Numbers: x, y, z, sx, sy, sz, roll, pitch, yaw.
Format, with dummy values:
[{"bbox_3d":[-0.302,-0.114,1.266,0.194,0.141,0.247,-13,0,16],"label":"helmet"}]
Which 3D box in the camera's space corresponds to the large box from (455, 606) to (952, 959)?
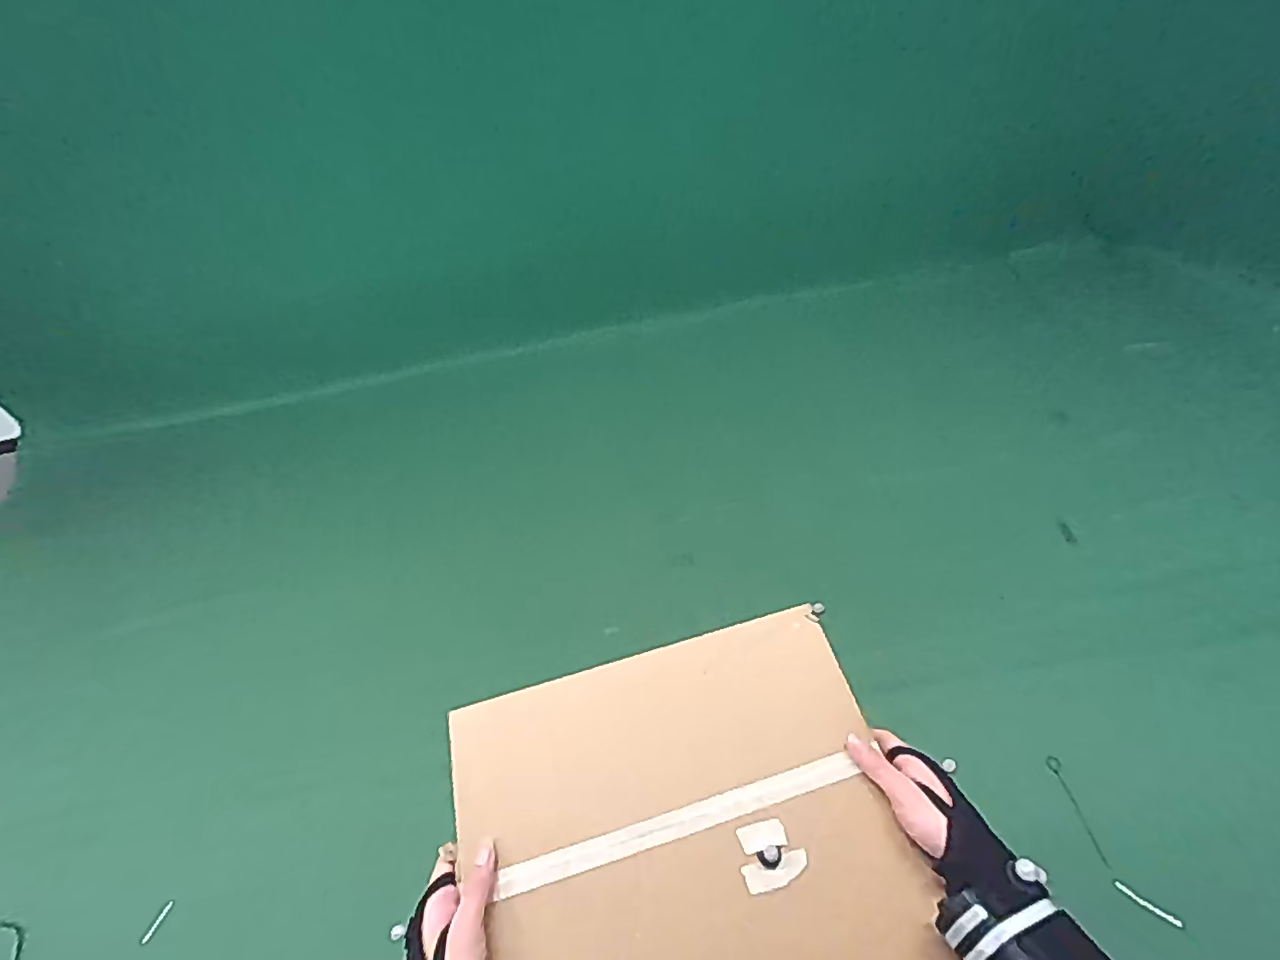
[{"bbox_3d":[0.041,0.399,0.637,0.408,0.320,0.320,-15,58,-8],"label":"large box"}]
